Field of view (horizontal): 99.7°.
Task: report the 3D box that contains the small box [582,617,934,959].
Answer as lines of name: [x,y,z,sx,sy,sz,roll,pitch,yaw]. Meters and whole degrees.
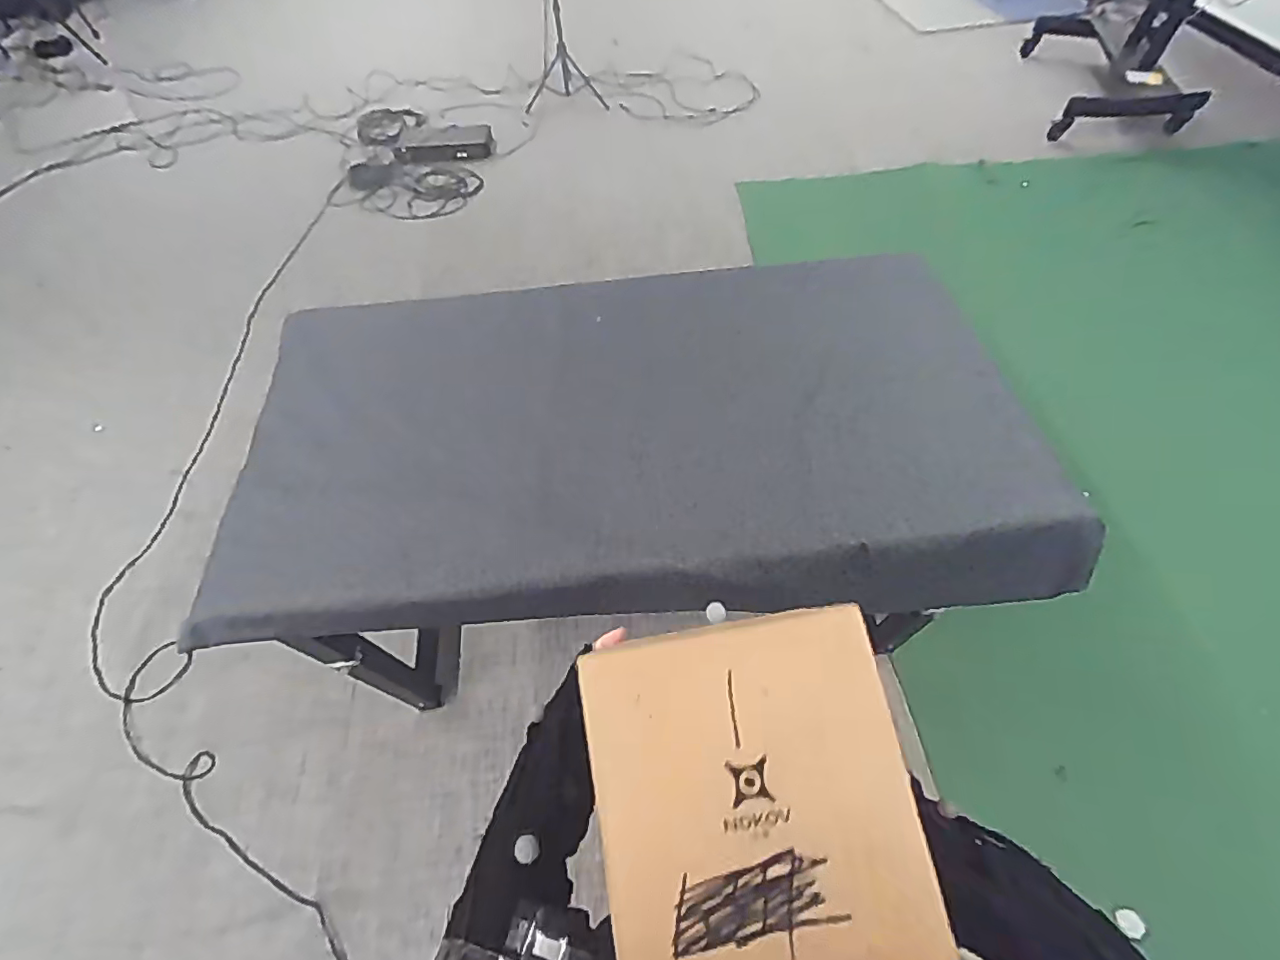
small box: [0.066,0.195,0.374,0.168,0.176,0.179,-10,75,4]
